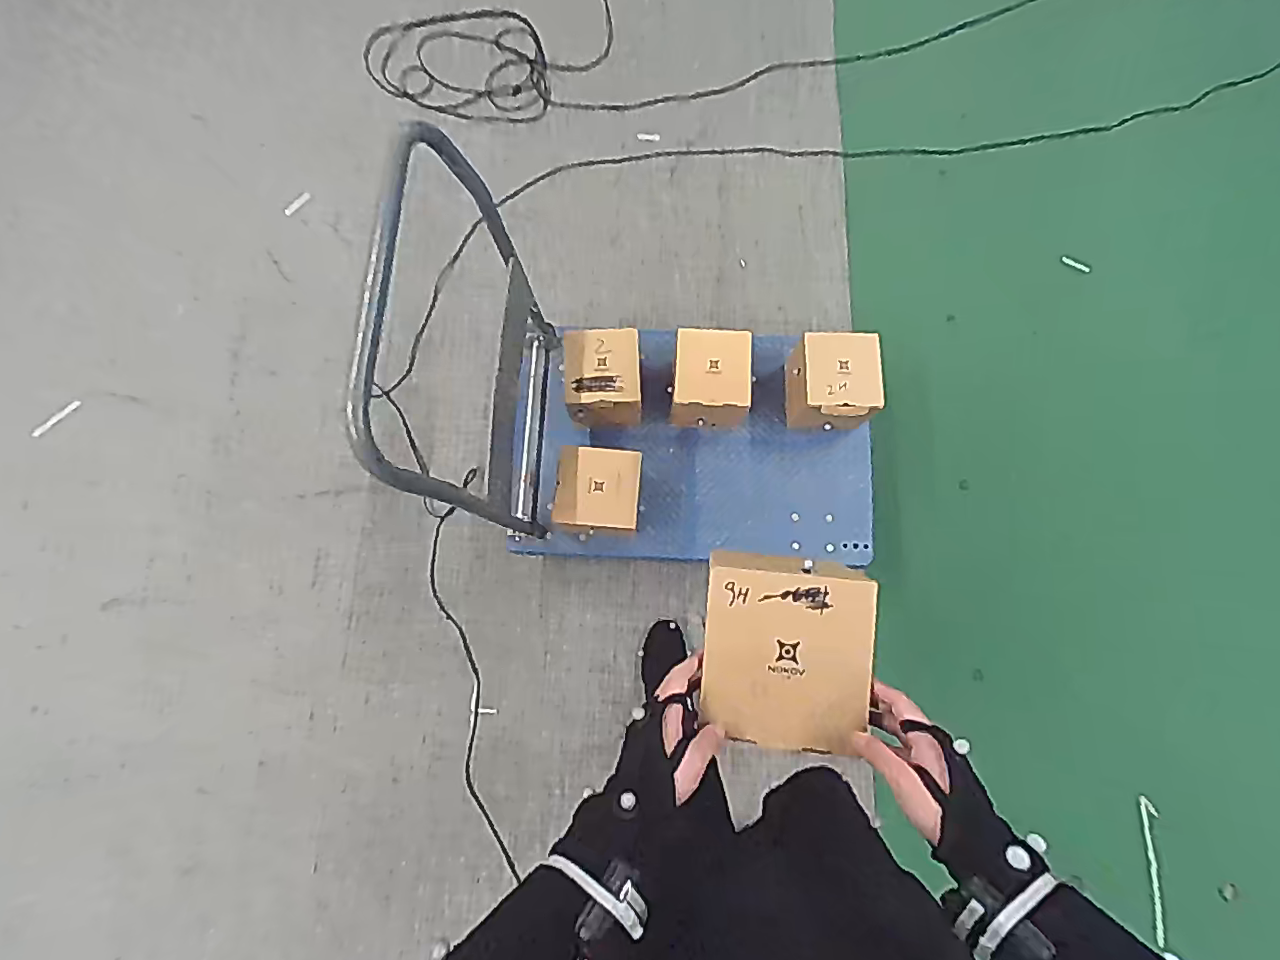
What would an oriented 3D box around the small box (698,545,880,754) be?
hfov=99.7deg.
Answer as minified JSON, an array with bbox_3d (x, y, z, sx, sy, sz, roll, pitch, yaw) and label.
[{"bbox_3d":[0.159,0.179,0.624,0.168,0.176,0.179,6,90,7],"label":"small box"}]

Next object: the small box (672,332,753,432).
[{"bbox_3d":[0.163,-0.223,1.260,0.168,0.176,0.179,3,79,0],"label":"small box"}]

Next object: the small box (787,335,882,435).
[{"bbox_3d":[0.443,-0.216,1.257,0.168,0.176,0.179,2,78,1],"label":"small box"}]

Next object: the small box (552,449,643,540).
[{"bbox_3d":[-0.087,0.038,1.199,0.179,0.176,0.168,5,78,0],"label":"small box"}]
